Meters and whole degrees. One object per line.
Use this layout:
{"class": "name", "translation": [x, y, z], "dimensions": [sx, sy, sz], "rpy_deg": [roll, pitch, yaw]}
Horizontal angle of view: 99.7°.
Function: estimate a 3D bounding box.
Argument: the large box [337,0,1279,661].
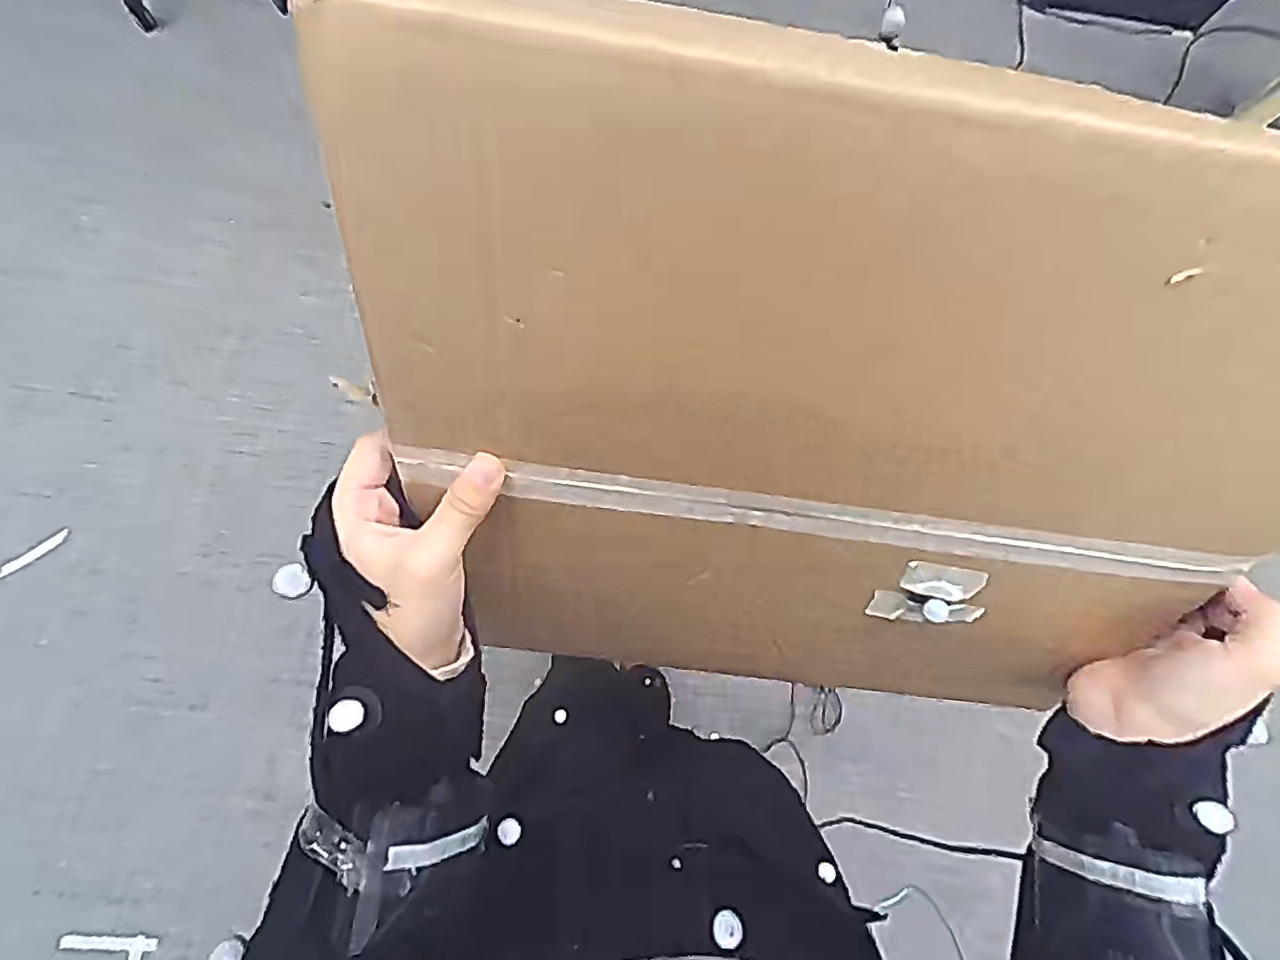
{"class": "large box", "translation": [0.102, -0.111, 0.359], "dimensions": [0.408, 0.320, 0.320], "rpy_deg": [6, 43, -3]}
